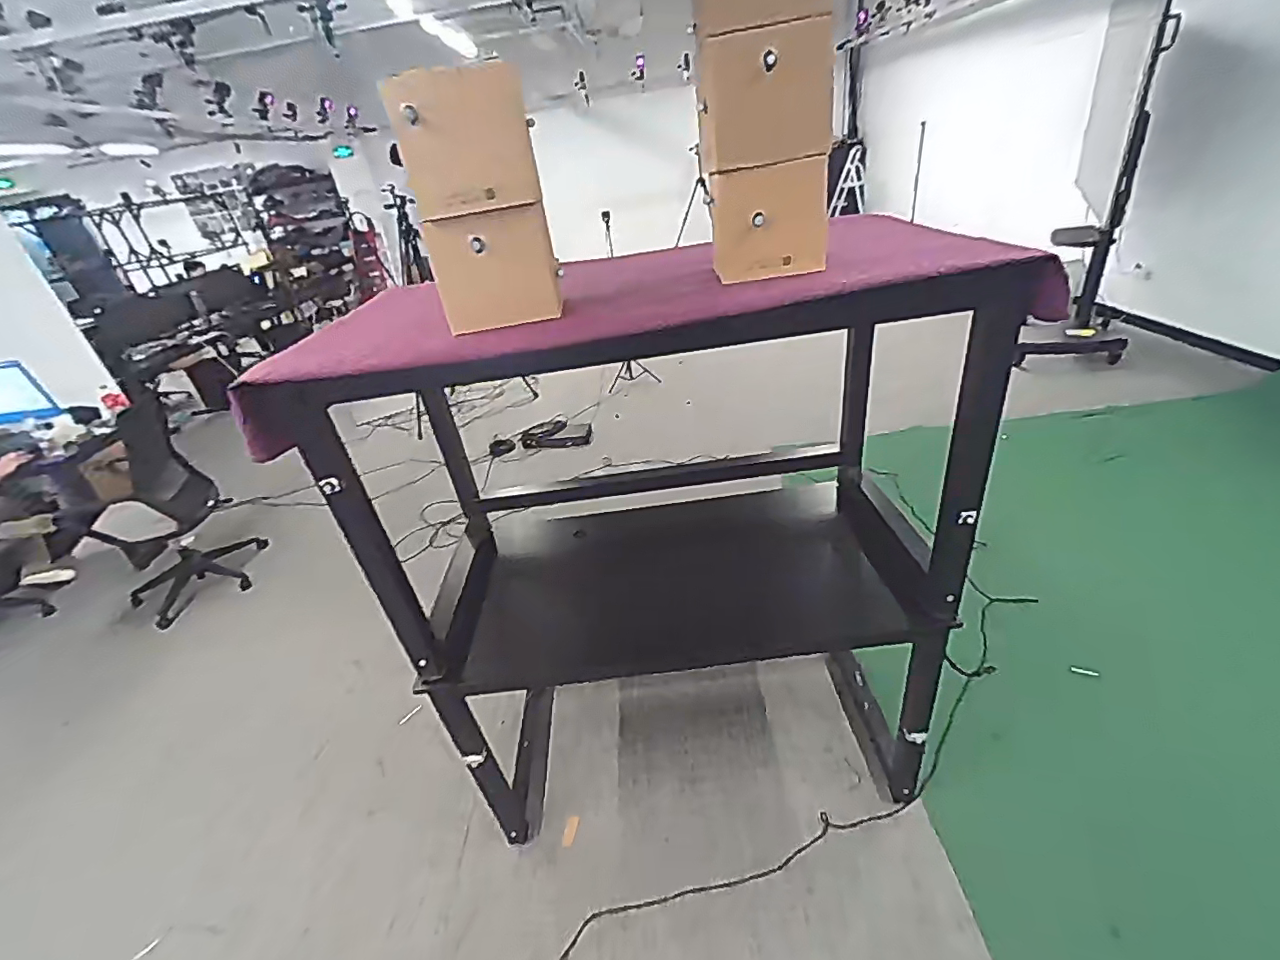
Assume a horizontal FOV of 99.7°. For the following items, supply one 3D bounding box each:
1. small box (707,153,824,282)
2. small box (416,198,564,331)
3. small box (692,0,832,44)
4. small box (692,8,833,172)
[{"bbox_3d":[0.208,-0.439,0.911,0.168,0.176,0.179,-6,30,6],"label":"small box"},{"bbox_3d":[-0.231,-0.350,0.877,0.179,0.176,0.168,-10,31,-1],"label":"small box"},{"bbox_3d":[0.161,-0.720,0.750,0.179,0.176,0.168,-7,30,4],"label":"small box"},{"bbox_3d":[0.181,-0.574,0.822,0.179,0.176,0.168,-8,30,3],"label":"small box"}]
